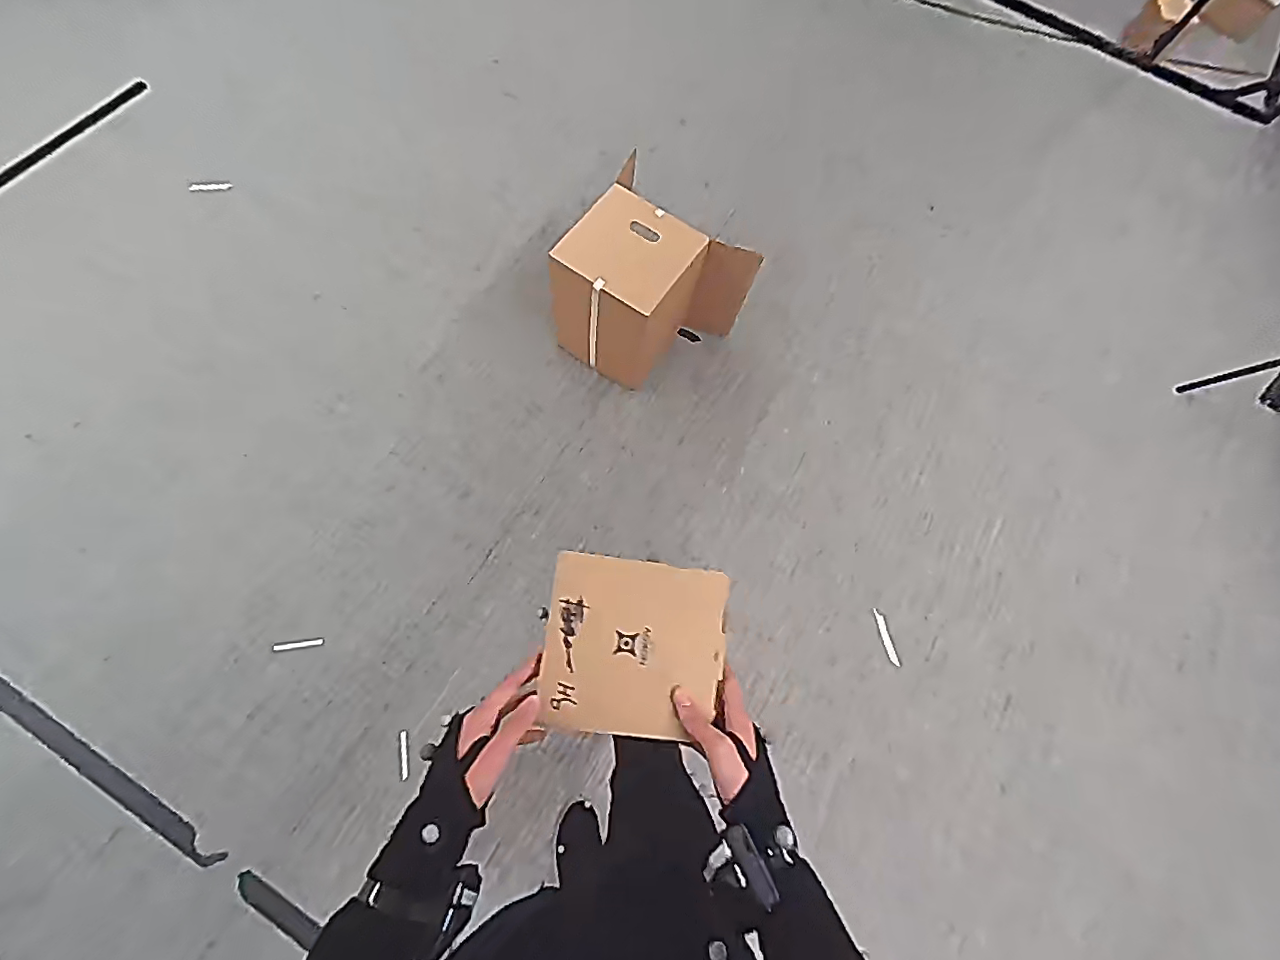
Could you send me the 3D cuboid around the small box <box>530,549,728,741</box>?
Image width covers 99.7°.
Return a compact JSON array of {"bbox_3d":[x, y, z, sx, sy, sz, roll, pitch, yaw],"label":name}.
[{"bbox_3d":[-0.017,0.172,0.602,0.179,0.176,0.168,9,79,-6],"label":"small box"}]
